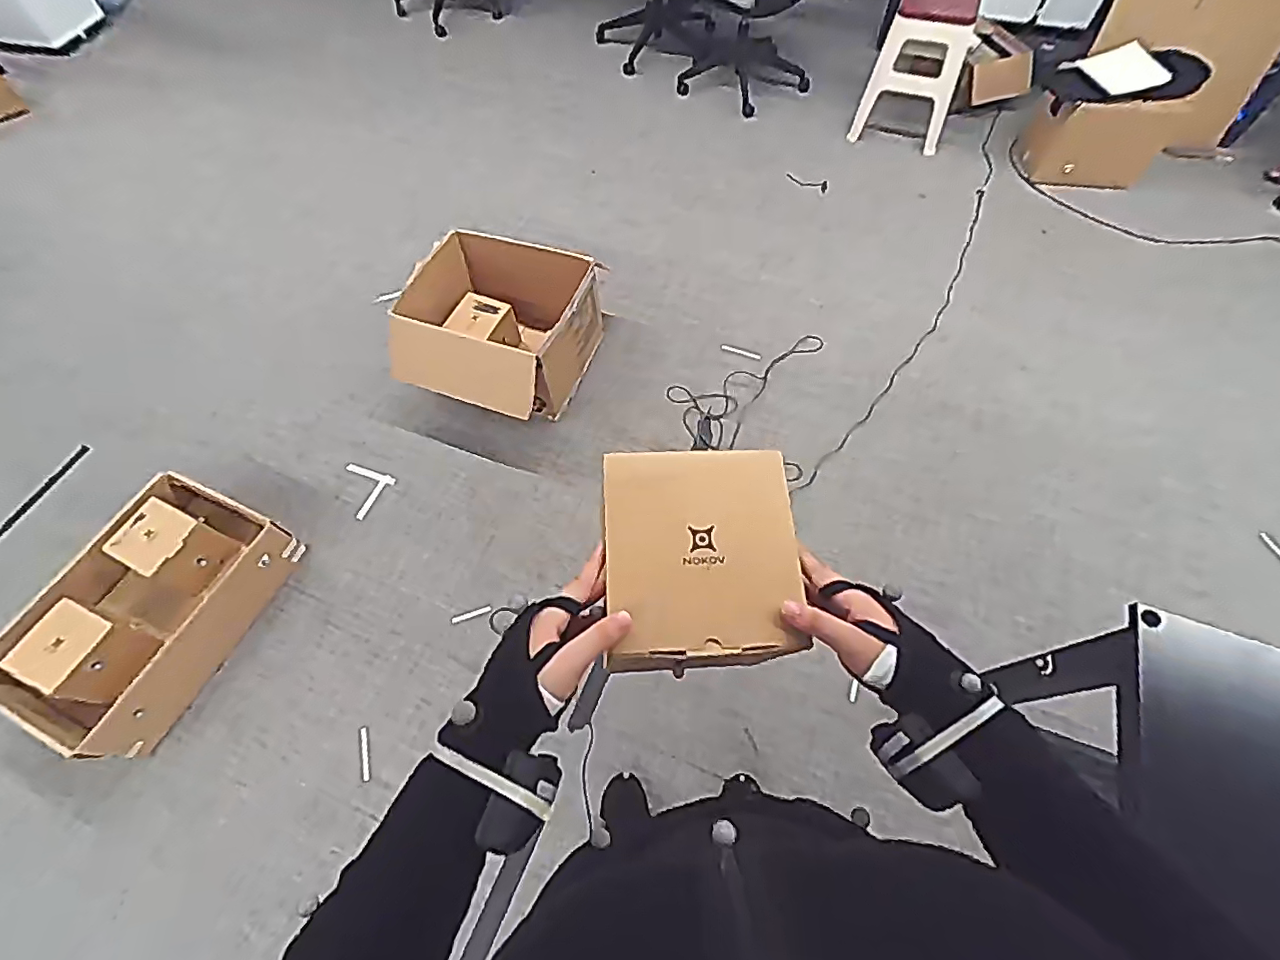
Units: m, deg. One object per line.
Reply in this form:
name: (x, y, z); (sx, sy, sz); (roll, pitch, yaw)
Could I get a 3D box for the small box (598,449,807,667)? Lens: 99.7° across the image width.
small box: (0.043, 0.083, 0.532); (0.168, 0.176, 0.179); (-2, 68, -5)

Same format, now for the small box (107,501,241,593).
small box: (-1.238, 0.187, 1.454); (0.179, 0.176, 0.168); (24, 65, 12)

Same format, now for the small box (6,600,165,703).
small box: (-1.343, 0.426, 1.326); (0.168, 0.176, 0.179); (21, 62, 10)
